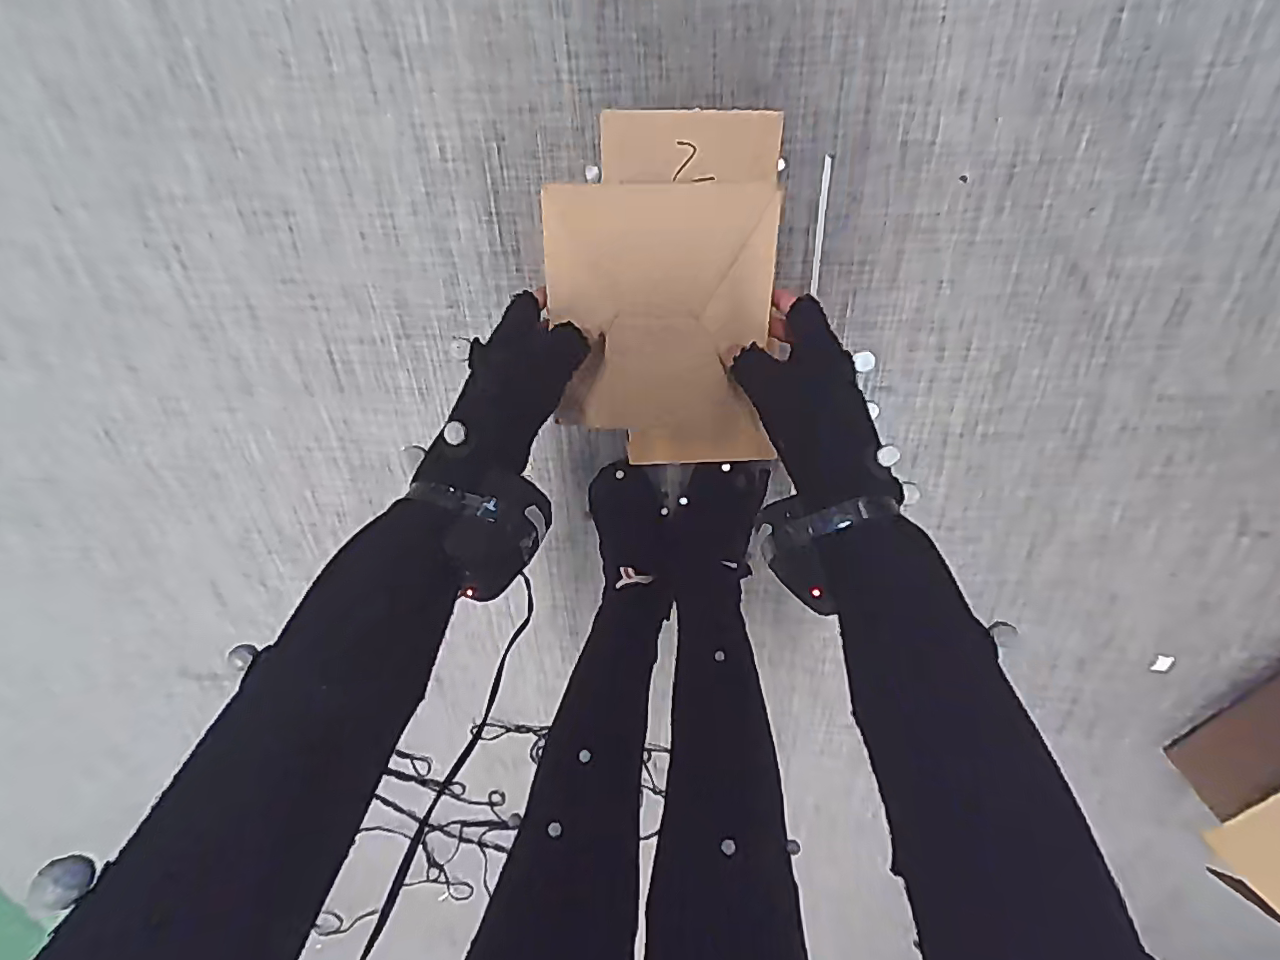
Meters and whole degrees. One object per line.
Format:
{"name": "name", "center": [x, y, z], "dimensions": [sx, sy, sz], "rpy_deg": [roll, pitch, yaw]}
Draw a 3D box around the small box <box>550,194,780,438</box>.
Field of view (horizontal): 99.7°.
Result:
{"name": "small box", "center": [0.022, -0.148, 0.473], "dimensions": [0.168, 0.176, 0.179], "rpy_deg": [3, 114, 5]}
